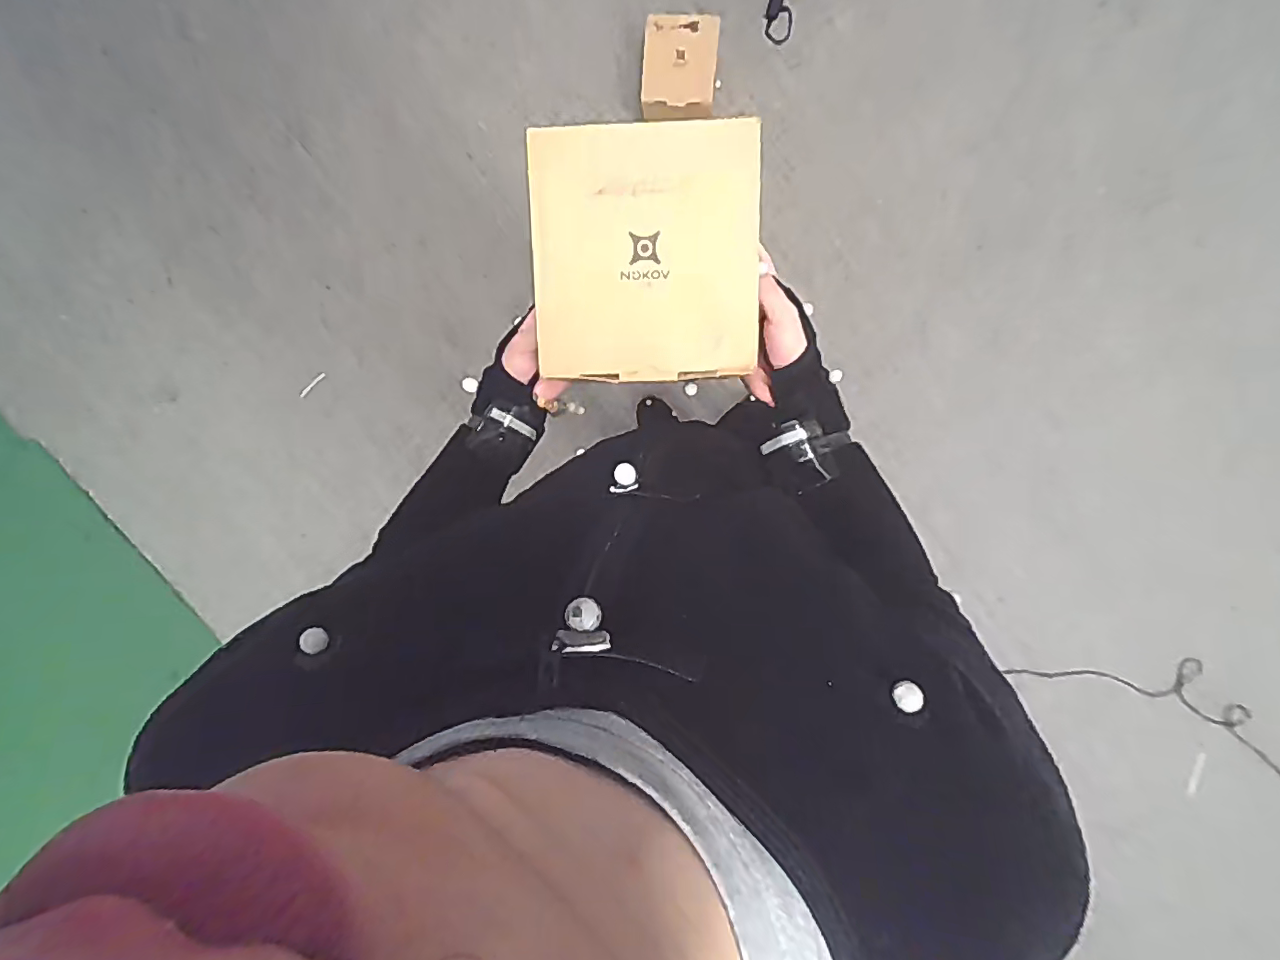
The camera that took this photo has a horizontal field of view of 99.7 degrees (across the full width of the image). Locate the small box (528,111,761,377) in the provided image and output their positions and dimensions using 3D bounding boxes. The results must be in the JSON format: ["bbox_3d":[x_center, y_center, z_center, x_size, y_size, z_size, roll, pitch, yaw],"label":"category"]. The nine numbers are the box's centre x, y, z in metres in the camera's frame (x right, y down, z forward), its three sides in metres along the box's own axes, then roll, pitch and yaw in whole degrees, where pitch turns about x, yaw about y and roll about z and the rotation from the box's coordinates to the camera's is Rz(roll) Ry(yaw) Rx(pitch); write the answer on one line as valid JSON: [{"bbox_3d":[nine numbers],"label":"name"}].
[{"bbox_3d":[0.007,-0.180,0.468,0.168,0.176,0.179,-2,99,2],"label":"small box"}]
